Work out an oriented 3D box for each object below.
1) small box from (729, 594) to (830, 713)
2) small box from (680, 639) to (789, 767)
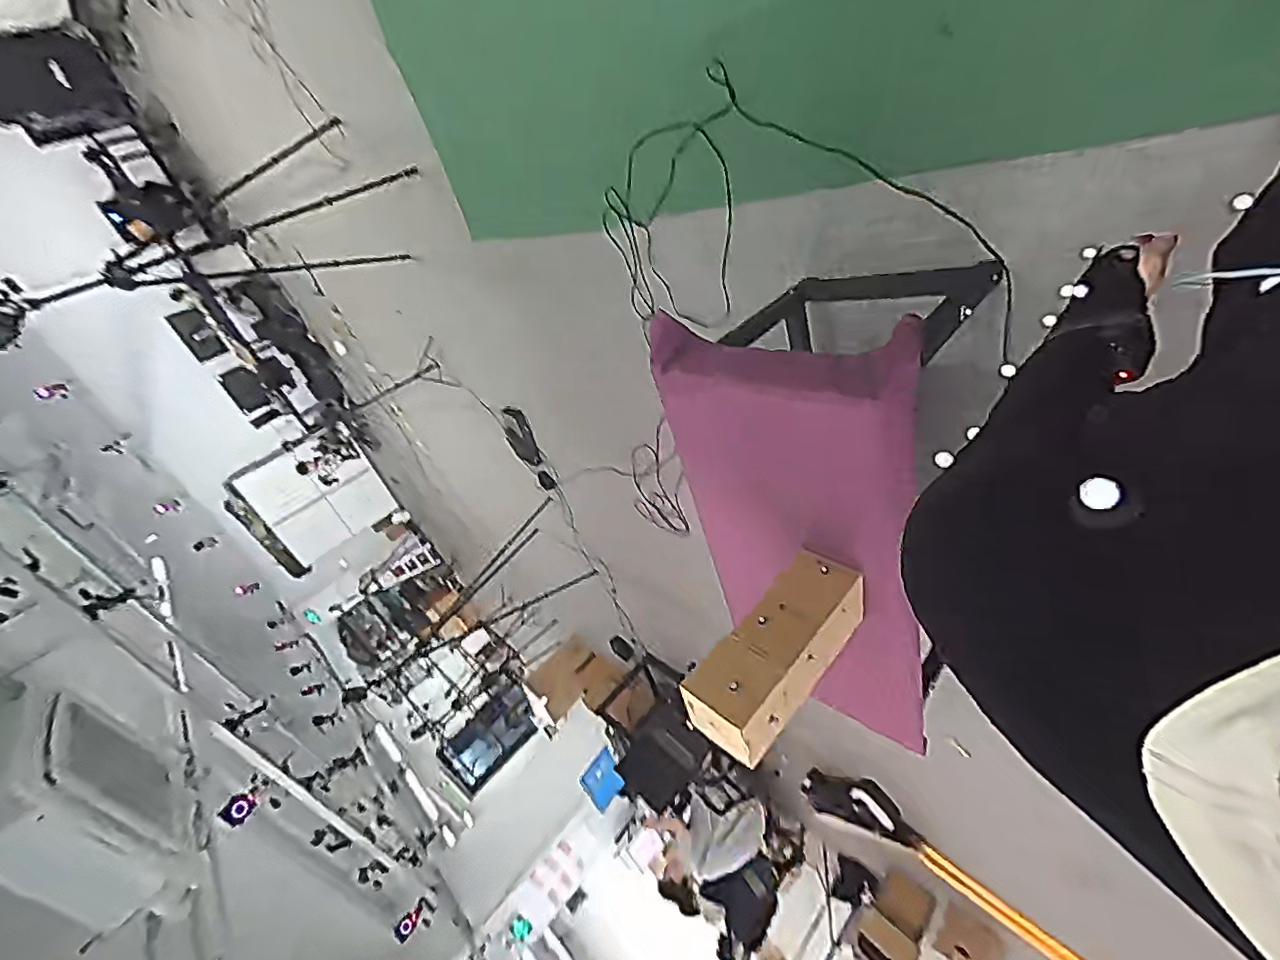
[{"bbox_3d":[0.338,0.406,1.291,0.168,0.176,0.179,22,140,42],"label":"small box"},{"bbox_3d":[0.221,0.492,1.217,0.179,0.176,0.168,22,139,42],"label":"small box"}]
